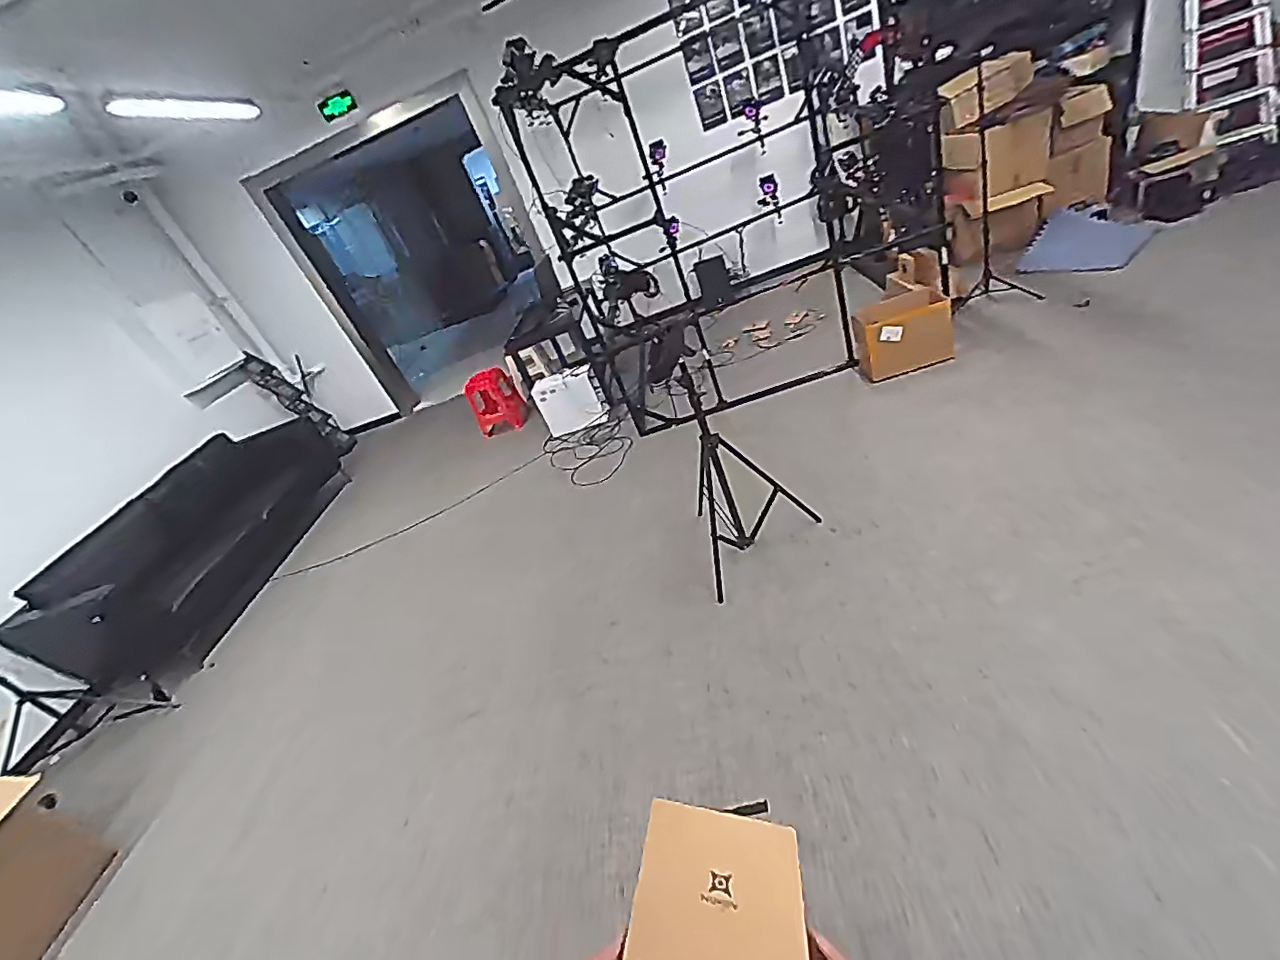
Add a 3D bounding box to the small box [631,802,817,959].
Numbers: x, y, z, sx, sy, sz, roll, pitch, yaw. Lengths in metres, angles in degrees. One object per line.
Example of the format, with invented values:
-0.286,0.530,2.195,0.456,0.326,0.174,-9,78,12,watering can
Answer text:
0.078,0.482,0.553,0.168,0.176,0.179,8,18,8,small box
